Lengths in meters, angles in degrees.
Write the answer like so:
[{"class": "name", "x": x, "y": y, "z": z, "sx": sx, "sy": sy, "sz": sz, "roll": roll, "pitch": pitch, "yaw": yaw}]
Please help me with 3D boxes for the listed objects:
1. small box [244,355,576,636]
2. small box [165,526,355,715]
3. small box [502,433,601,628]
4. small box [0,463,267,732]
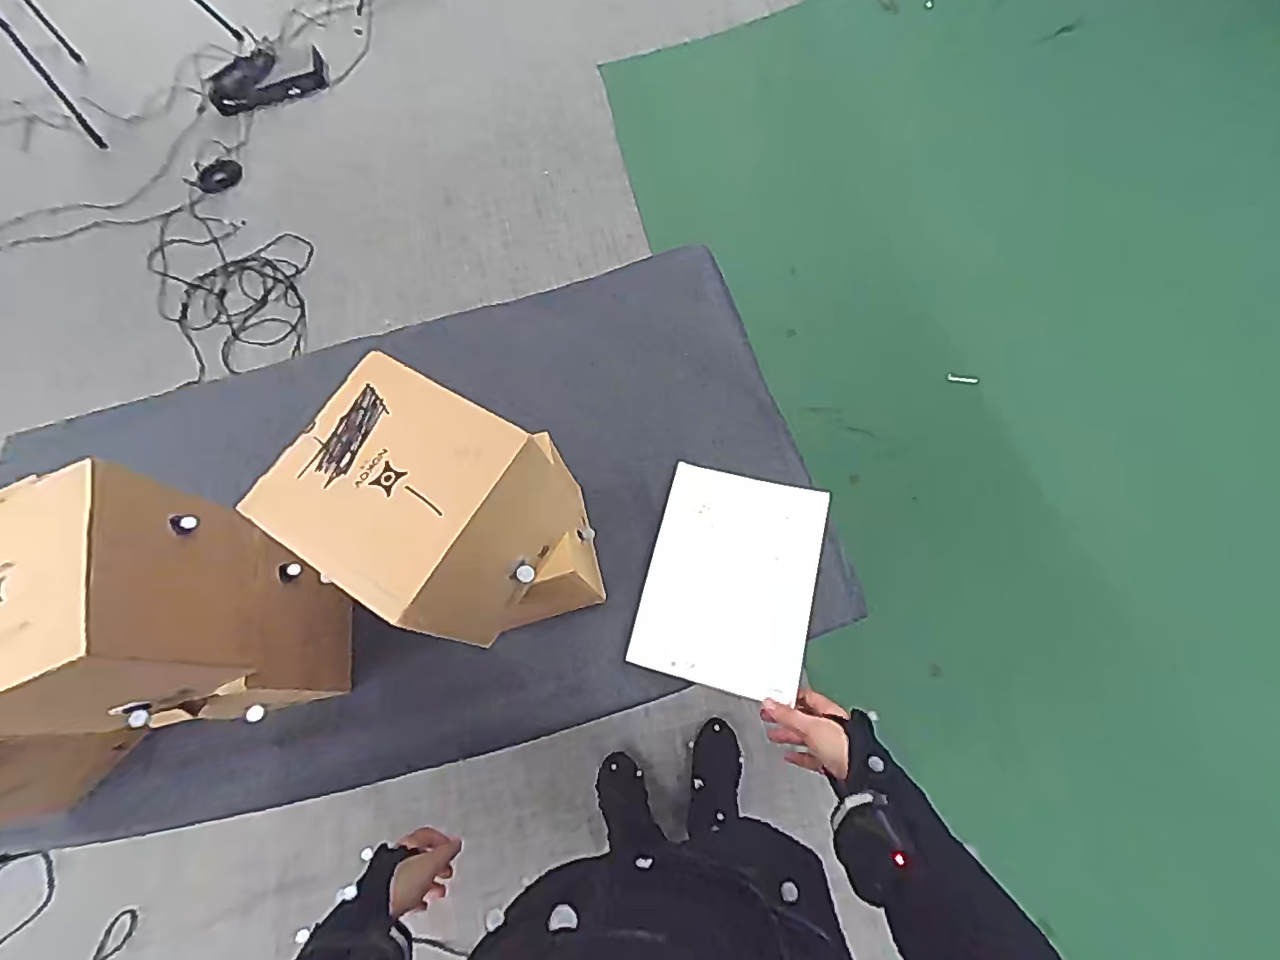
[{"class": "small box", "x": -0.185, "y": 0.025, "z": 0.487, "sx": 0.179, "sy": 0.176, "sz": 0.168, "roll": 28, "pitch": 75, "yaw": 18}, {"class": "small box", "x": -0.466, "y": 0.176, "z": 0.646, "sx": 0.168, "sy": 0.176, "sz": 0.179, "roll": -14, "pitch": 67, "yaw": 4}, {"class": "small box", "x": -0.153, "y": 0.072, "z": 0.642, "sx": 0.179, "sy": 0.176, "sz": 0.168, "roll": -17, "pitch": 67, "yaw": 2}, {"class": "small box", "x": -0.485, "y": 0.117, "z": 0.496, "sx": 0.168, "sy": 0.176, "sz": 0.179, "roll": -24, "pitch": 67, "yaw": -1}]
